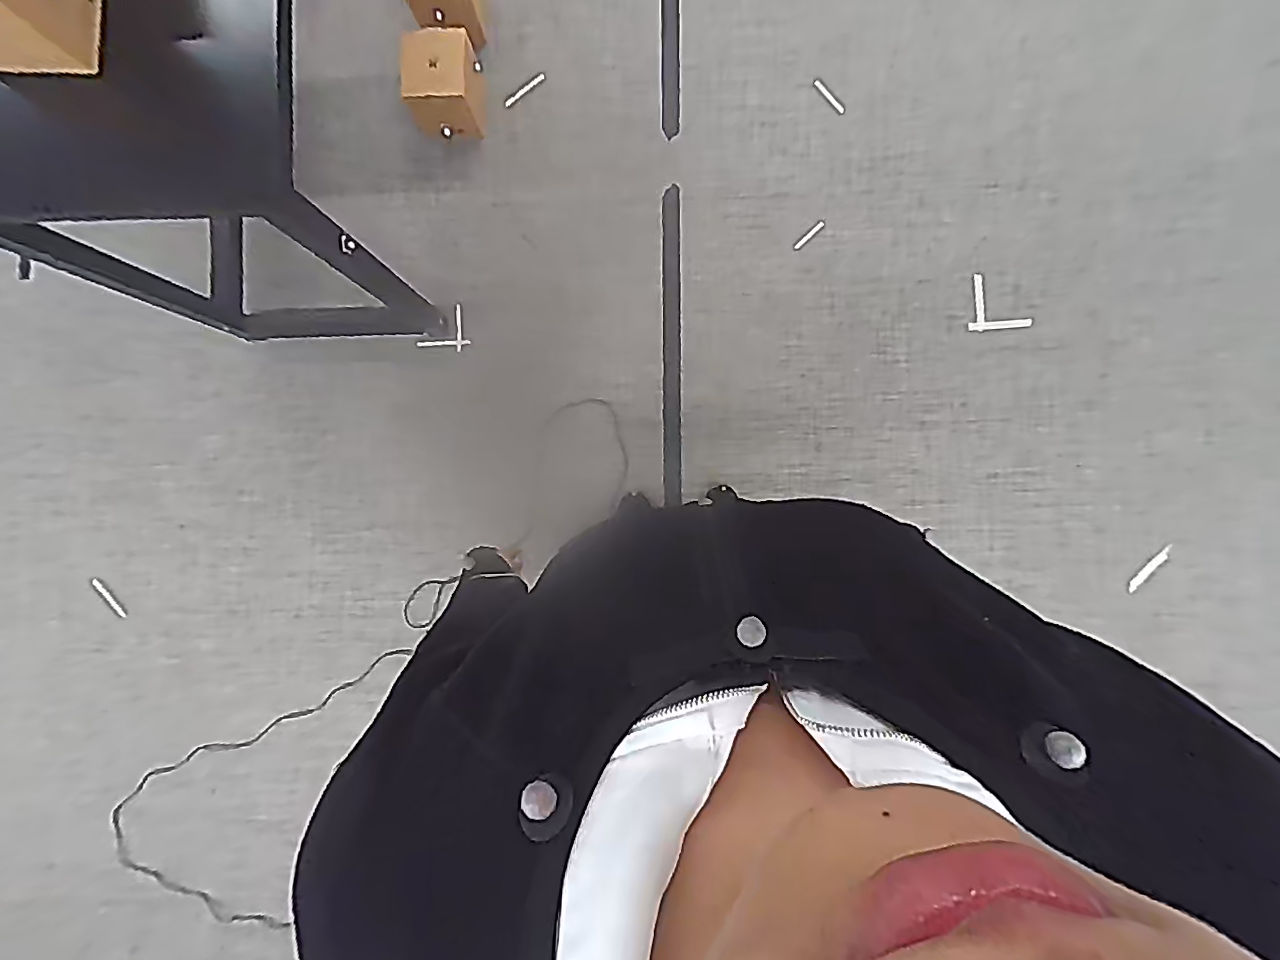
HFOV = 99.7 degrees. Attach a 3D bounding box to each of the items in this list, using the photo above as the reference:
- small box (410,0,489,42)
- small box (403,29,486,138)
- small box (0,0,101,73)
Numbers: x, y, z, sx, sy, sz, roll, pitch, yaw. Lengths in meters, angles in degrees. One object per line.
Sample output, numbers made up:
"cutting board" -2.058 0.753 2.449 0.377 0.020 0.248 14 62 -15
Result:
"small box" -0.521 -1.324 1.458 0.179 0.176 0.168 -2 90 2
"small box" -0.521 -1.061 1.458 0.168 0.176 0.179 -1 90 2
"small box" -0.889 -0.691 0.730 0.179 0.176 0.168 2 89 1
